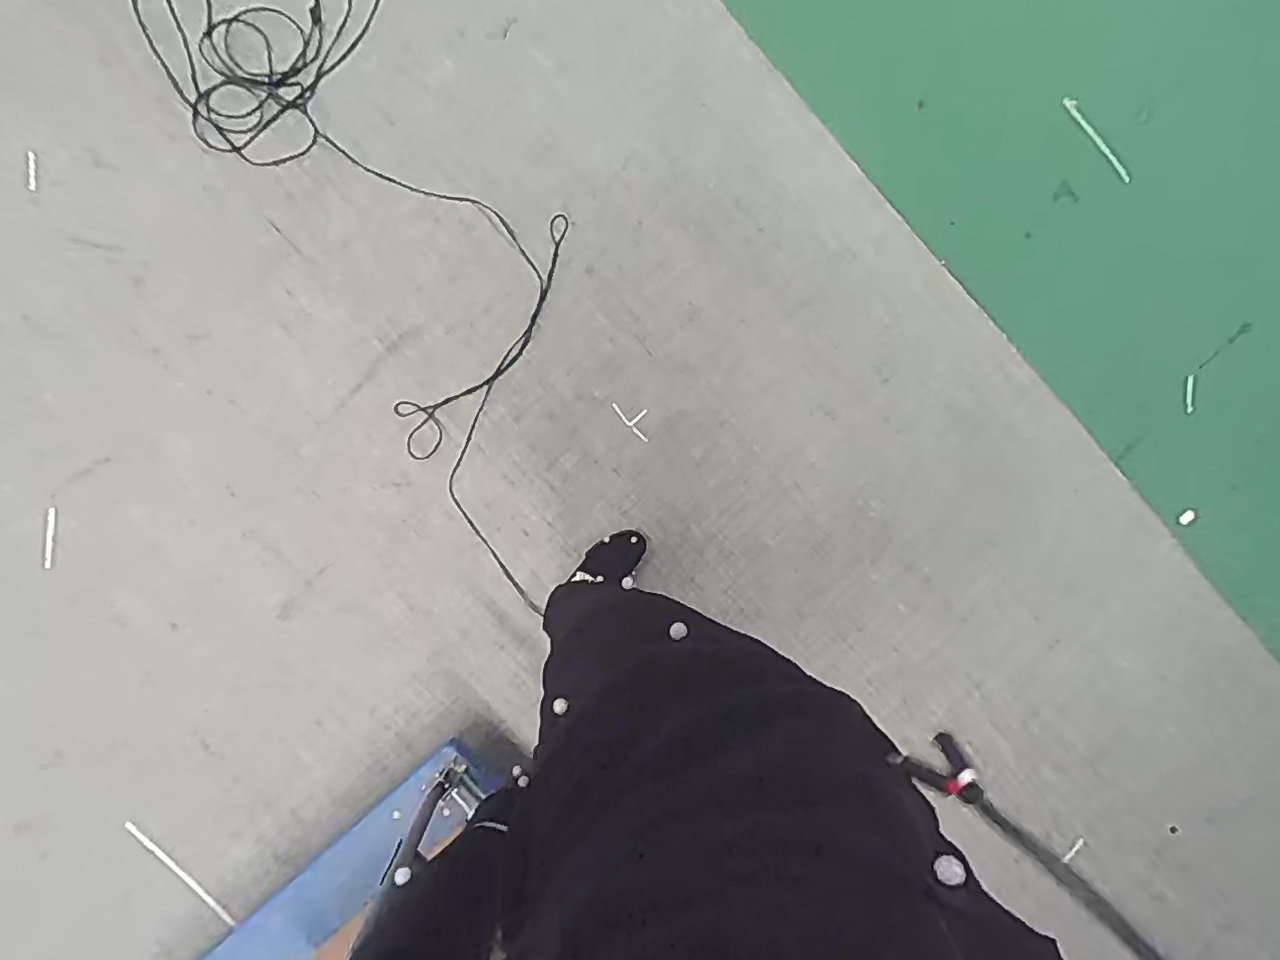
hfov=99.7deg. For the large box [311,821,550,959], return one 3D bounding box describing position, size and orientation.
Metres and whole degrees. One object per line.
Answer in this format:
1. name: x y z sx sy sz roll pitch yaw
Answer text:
1. large box: -0.423 0.978 1.027 0.408 0.320 0.320 -40 92 -7
